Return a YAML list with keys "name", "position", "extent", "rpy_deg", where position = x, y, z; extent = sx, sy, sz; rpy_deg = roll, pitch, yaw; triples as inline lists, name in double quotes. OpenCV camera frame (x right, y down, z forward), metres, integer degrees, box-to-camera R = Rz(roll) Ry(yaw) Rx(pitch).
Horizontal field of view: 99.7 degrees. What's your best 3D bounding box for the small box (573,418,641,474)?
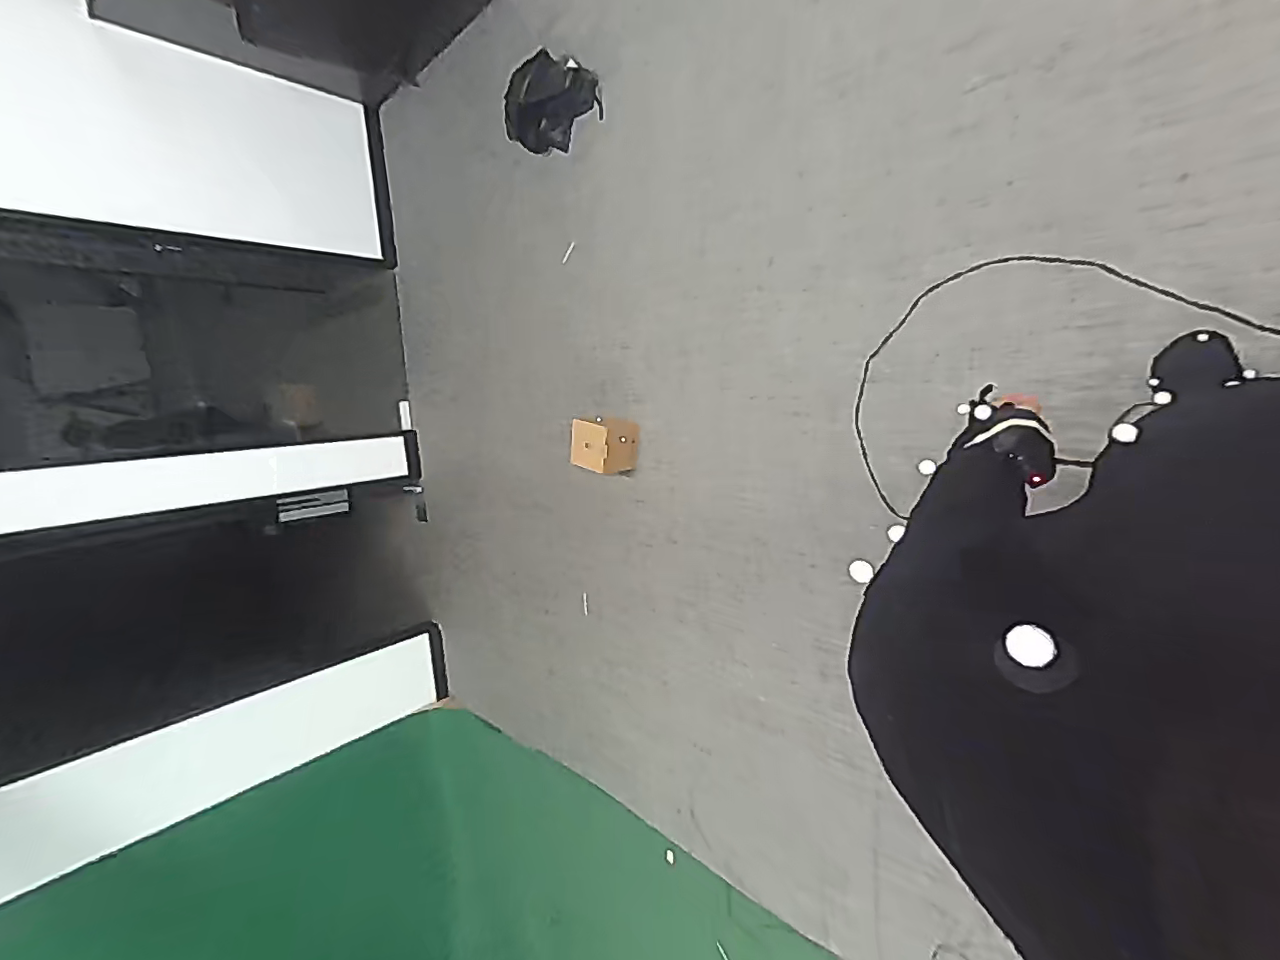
- name: "small box"
  position: [-0.116, -0.129, 1.932]
  extent: [0.179, 0.176, 0.168]
  rpy_deg: [18, 109, 41]
